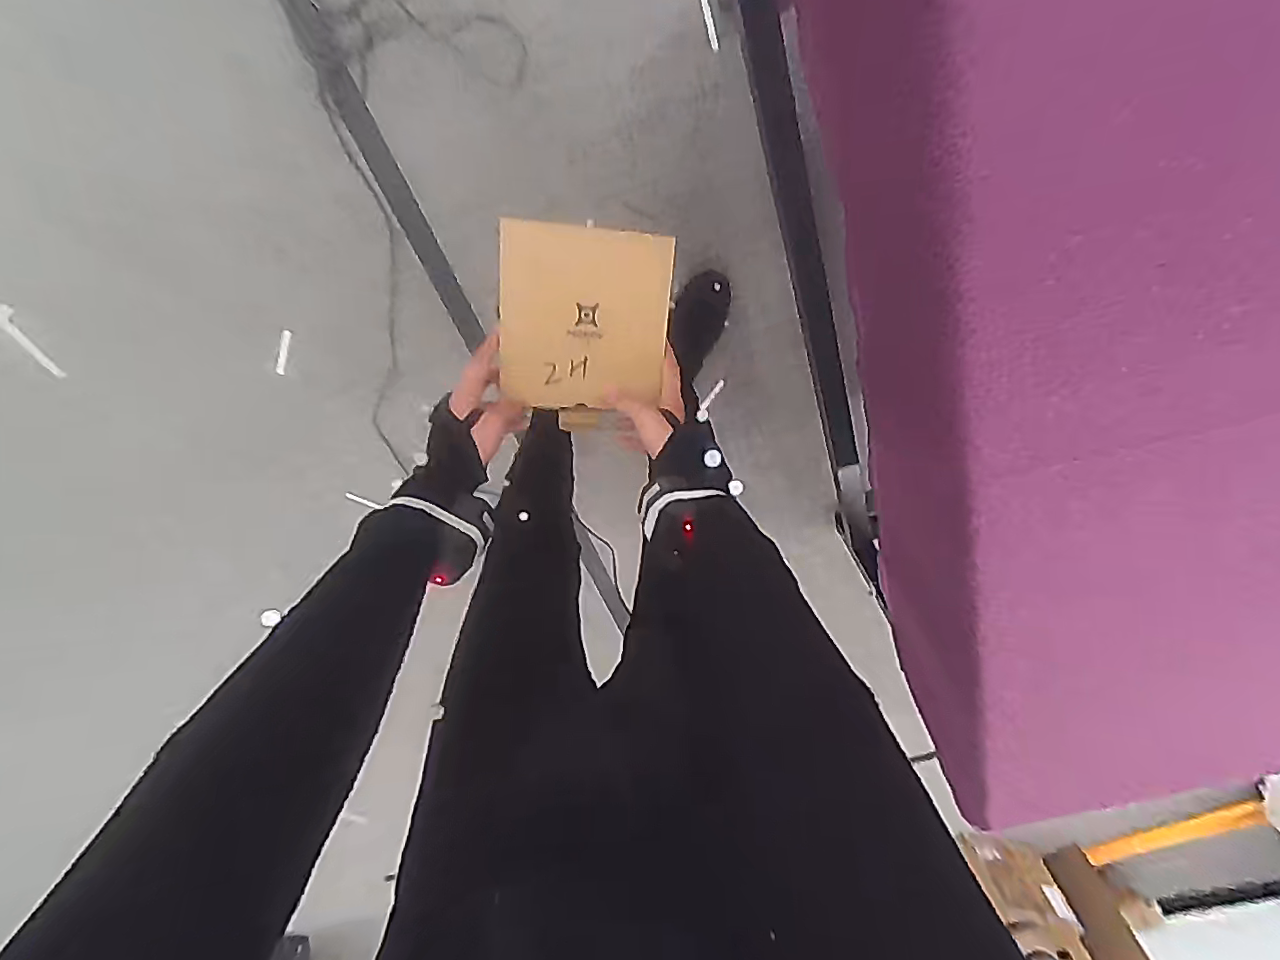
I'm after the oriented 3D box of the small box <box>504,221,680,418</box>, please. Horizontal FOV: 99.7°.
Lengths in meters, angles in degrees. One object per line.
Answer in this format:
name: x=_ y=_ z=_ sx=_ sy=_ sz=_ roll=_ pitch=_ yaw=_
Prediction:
small box: x=-0.062 y=-0.179 z=0.609 sx=0.168 sy=0.176 sz=0.179 roll=3 pitch=110 yaw=-10
